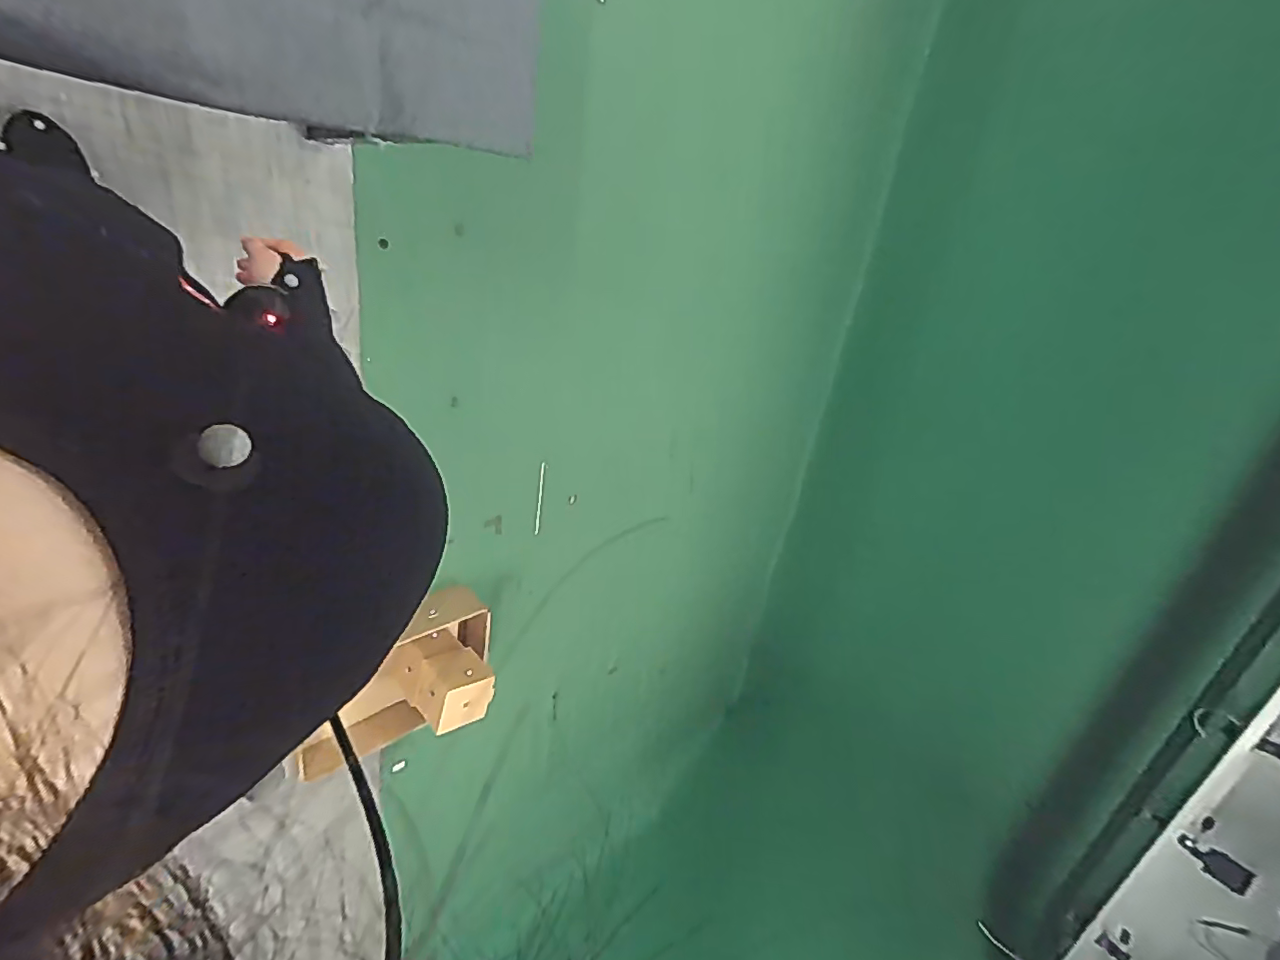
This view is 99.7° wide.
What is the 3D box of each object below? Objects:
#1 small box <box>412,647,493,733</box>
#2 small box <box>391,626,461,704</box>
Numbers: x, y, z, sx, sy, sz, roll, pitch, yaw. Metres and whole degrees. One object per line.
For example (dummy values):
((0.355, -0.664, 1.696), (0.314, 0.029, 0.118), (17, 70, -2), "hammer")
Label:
((-0.609, 0.668, 1.744), (0.179, 0.176, 0.168), (-1, 113, -51), "small box")
((-0.727, 0.626, 1.850), (0.168, 0.176, 0.179), (7, 107, -52), "small box")
